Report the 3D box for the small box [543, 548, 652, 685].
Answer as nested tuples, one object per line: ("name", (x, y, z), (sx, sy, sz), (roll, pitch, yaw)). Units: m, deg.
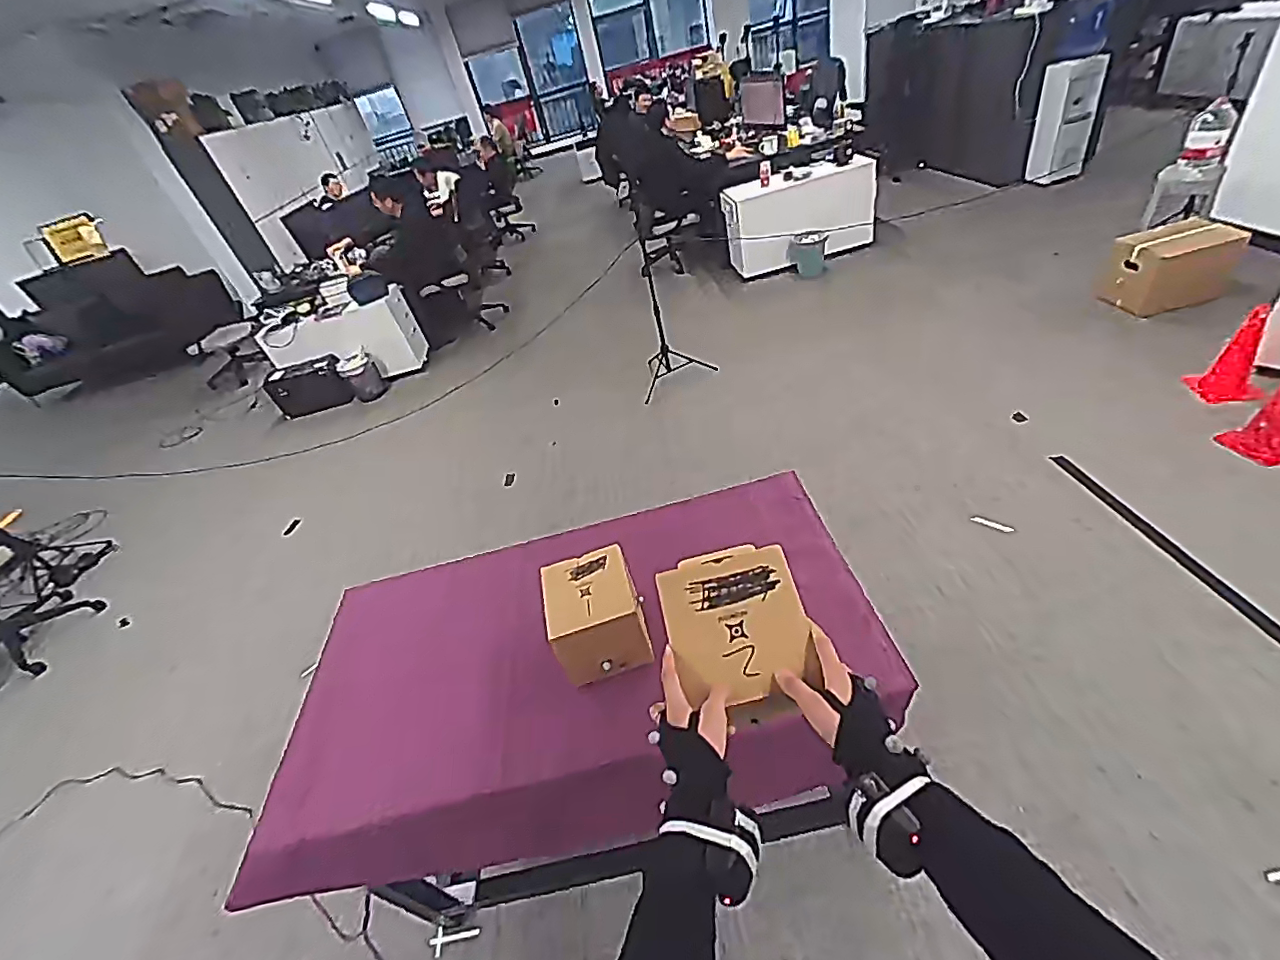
("small box", (-0.084, 0.272, 1.077), (0.168, 0.176, 0.179), (-18, 39, -2))
